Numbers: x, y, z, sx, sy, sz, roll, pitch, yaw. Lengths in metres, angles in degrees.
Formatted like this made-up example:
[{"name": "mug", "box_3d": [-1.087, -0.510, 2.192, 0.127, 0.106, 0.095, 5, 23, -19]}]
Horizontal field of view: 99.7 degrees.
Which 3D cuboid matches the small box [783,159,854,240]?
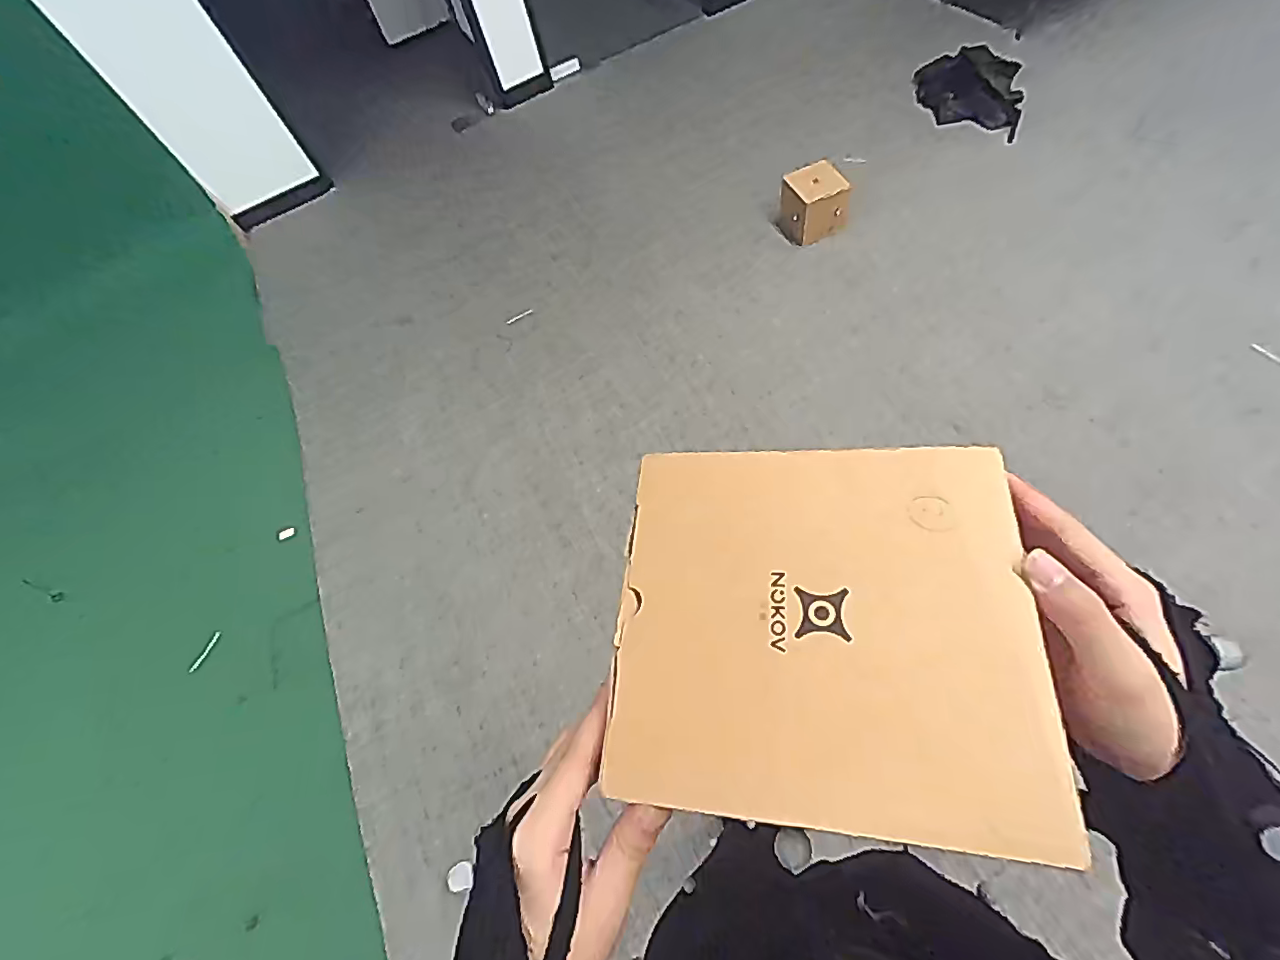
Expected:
[{"name": "small box", "box_3d": [0.606, -0.953, 1.855, 0.168, 0.176, 0.179, -22, 59, -3]}]
